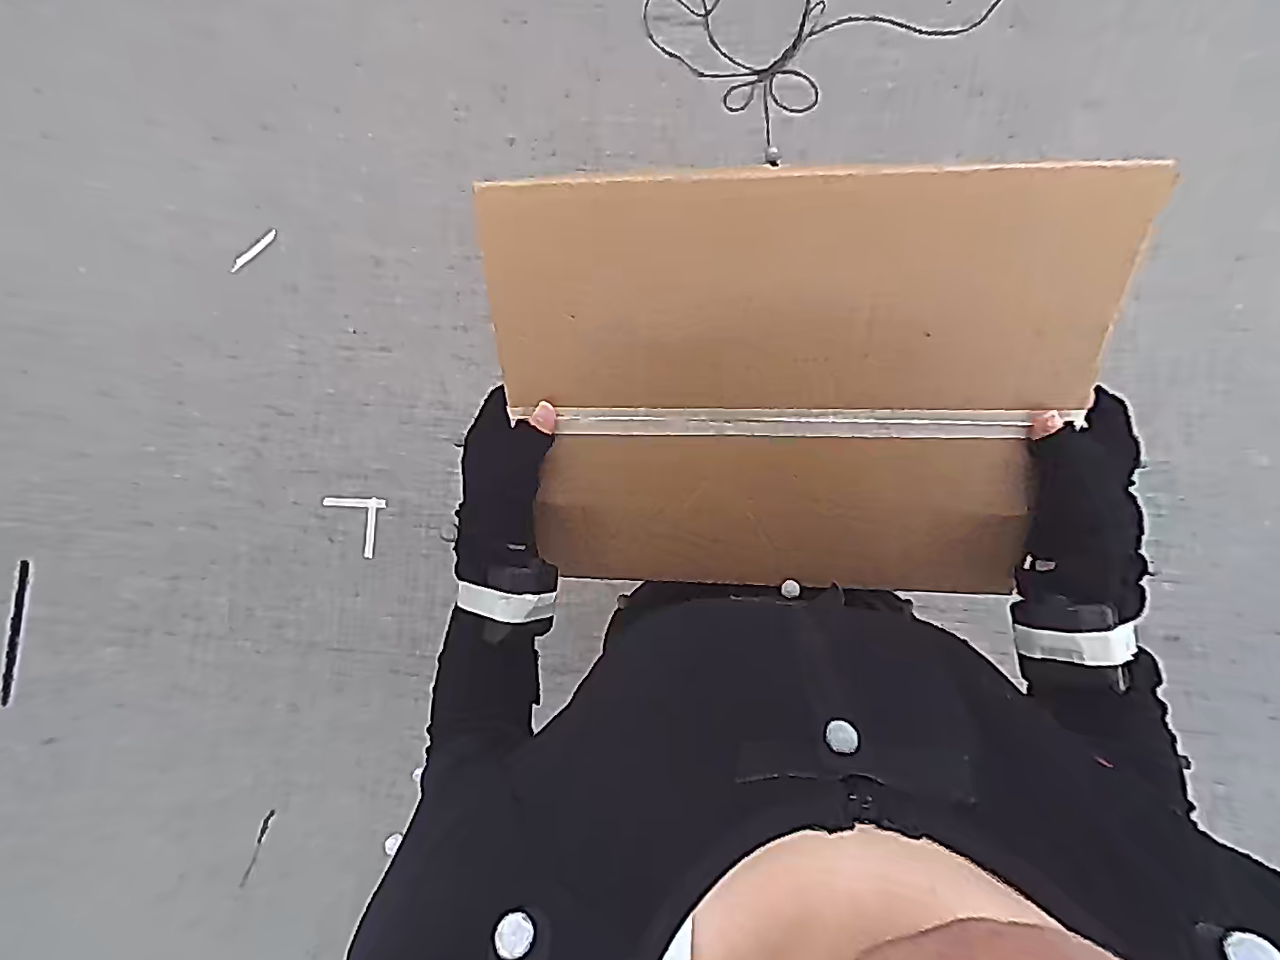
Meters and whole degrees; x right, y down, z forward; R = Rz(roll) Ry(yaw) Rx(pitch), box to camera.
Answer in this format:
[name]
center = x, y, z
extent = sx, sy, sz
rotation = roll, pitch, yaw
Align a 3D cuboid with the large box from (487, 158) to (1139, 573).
[large box]
center = 0.117, -0.128, 0.536
extent = 0.408, 0.320, 0.320
rotation = 1, 121, 6
